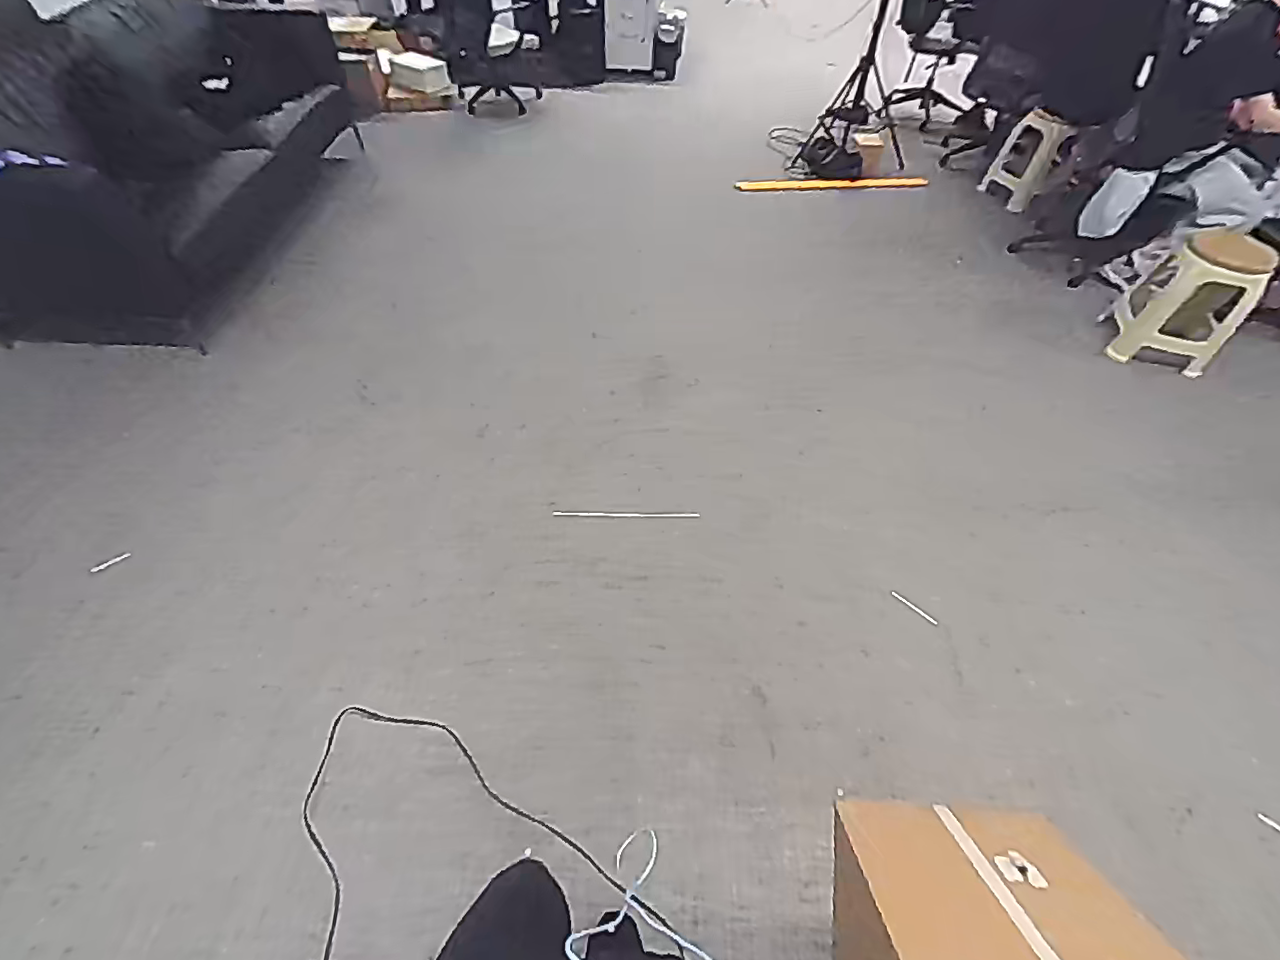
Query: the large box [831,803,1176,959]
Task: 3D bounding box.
[{"bbox_3d":[0.441,0.673,0.658,0.320,0.408,0.320,1,92,5],"label":"large box"}]
